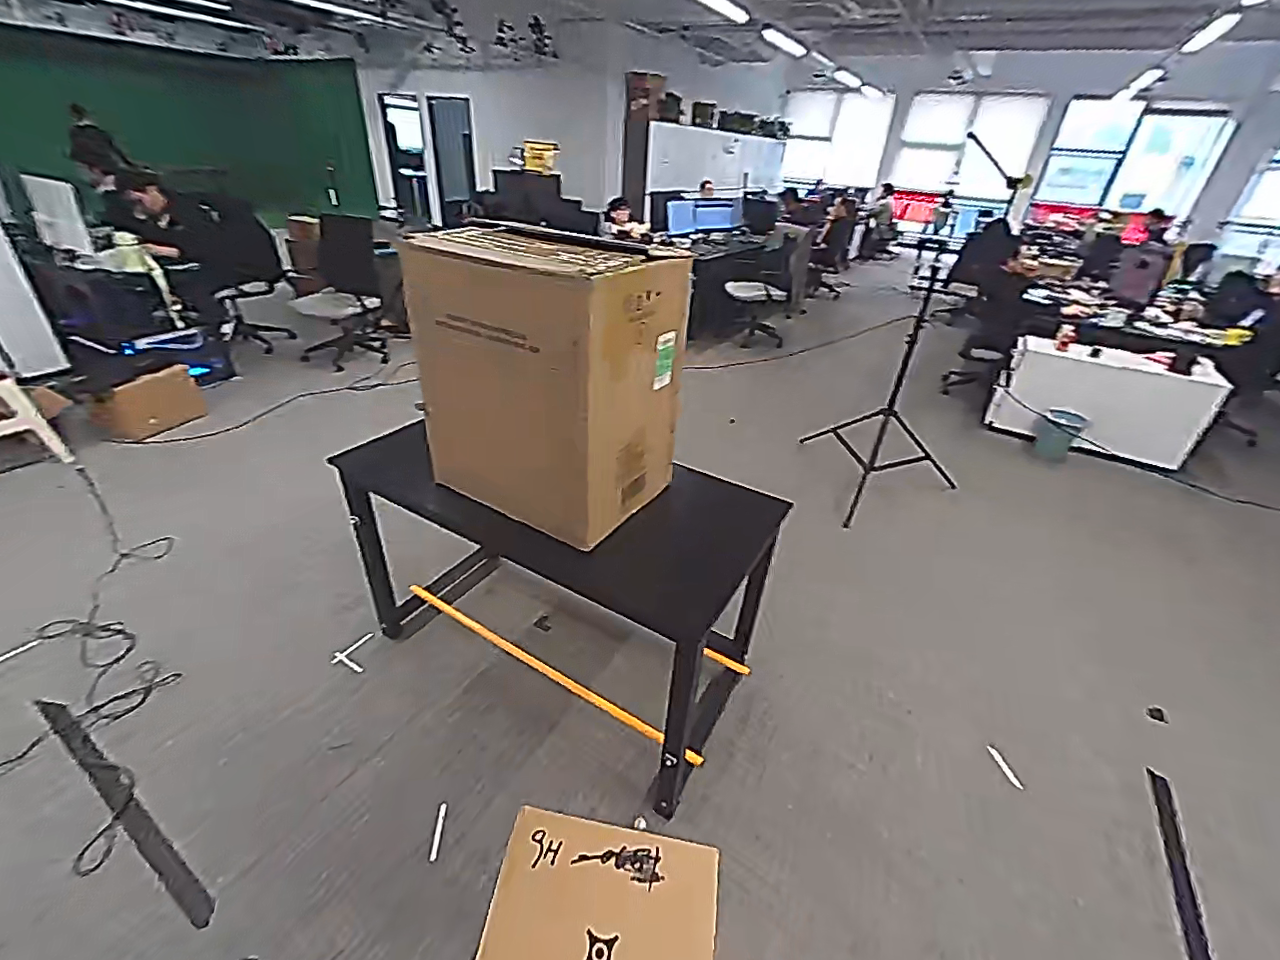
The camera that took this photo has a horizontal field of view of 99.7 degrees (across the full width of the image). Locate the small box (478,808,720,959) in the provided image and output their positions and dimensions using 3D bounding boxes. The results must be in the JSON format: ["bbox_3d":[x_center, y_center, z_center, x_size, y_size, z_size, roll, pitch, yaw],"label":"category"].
[{"bbox_3d":[-0.038,0.393,0.427,0.168,0.176,0.179,11,45,1],"label":"small box"}]
